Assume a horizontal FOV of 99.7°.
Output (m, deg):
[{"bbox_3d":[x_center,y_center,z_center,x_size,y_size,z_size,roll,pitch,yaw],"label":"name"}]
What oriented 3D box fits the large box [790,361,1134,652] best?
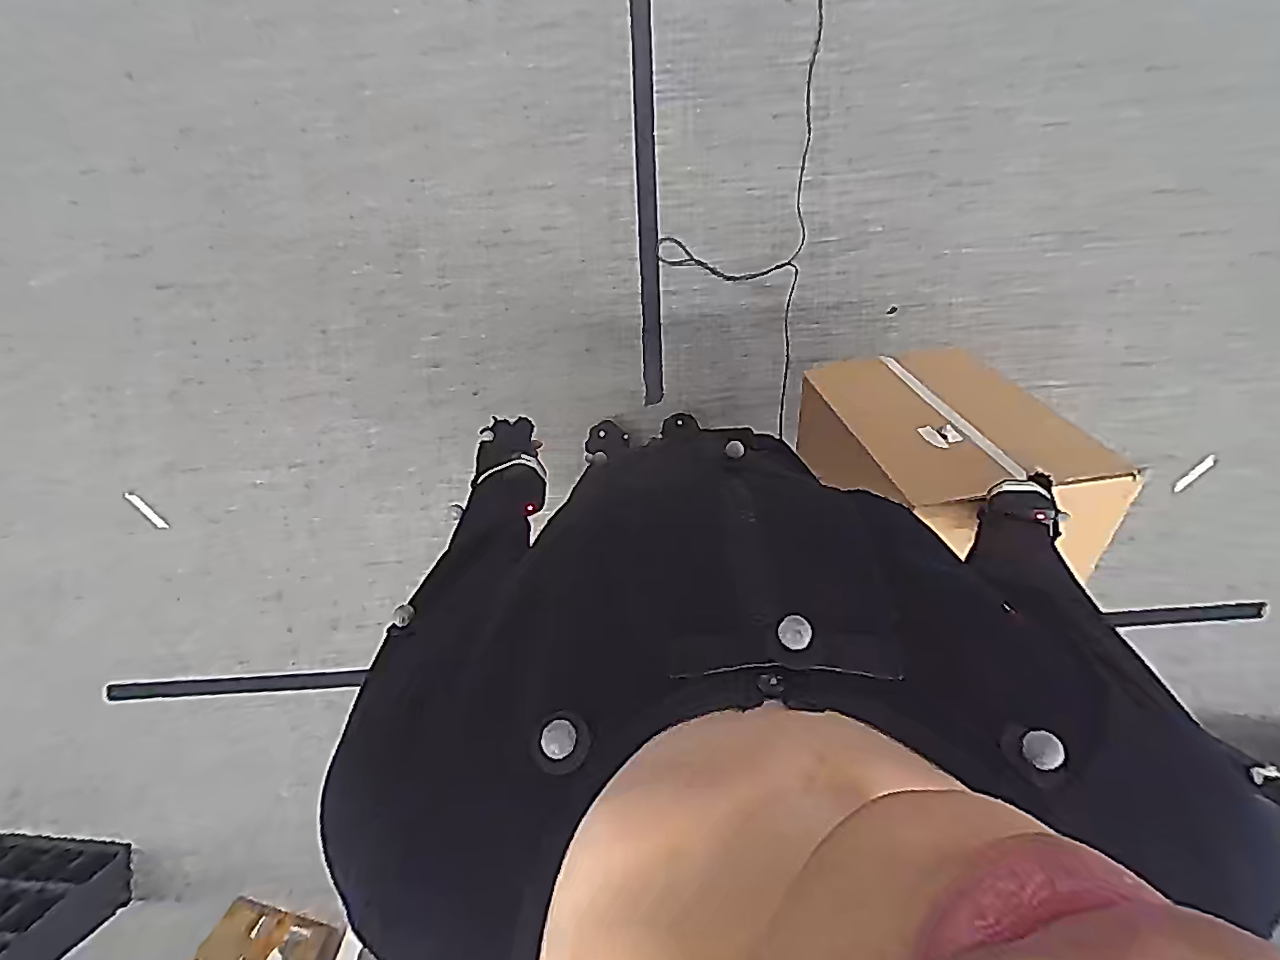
[{"bbox_3d":[0.496,0.029,0.959,0.320,0.408,0.320,-9,128,-3],"label":"large box"}]
